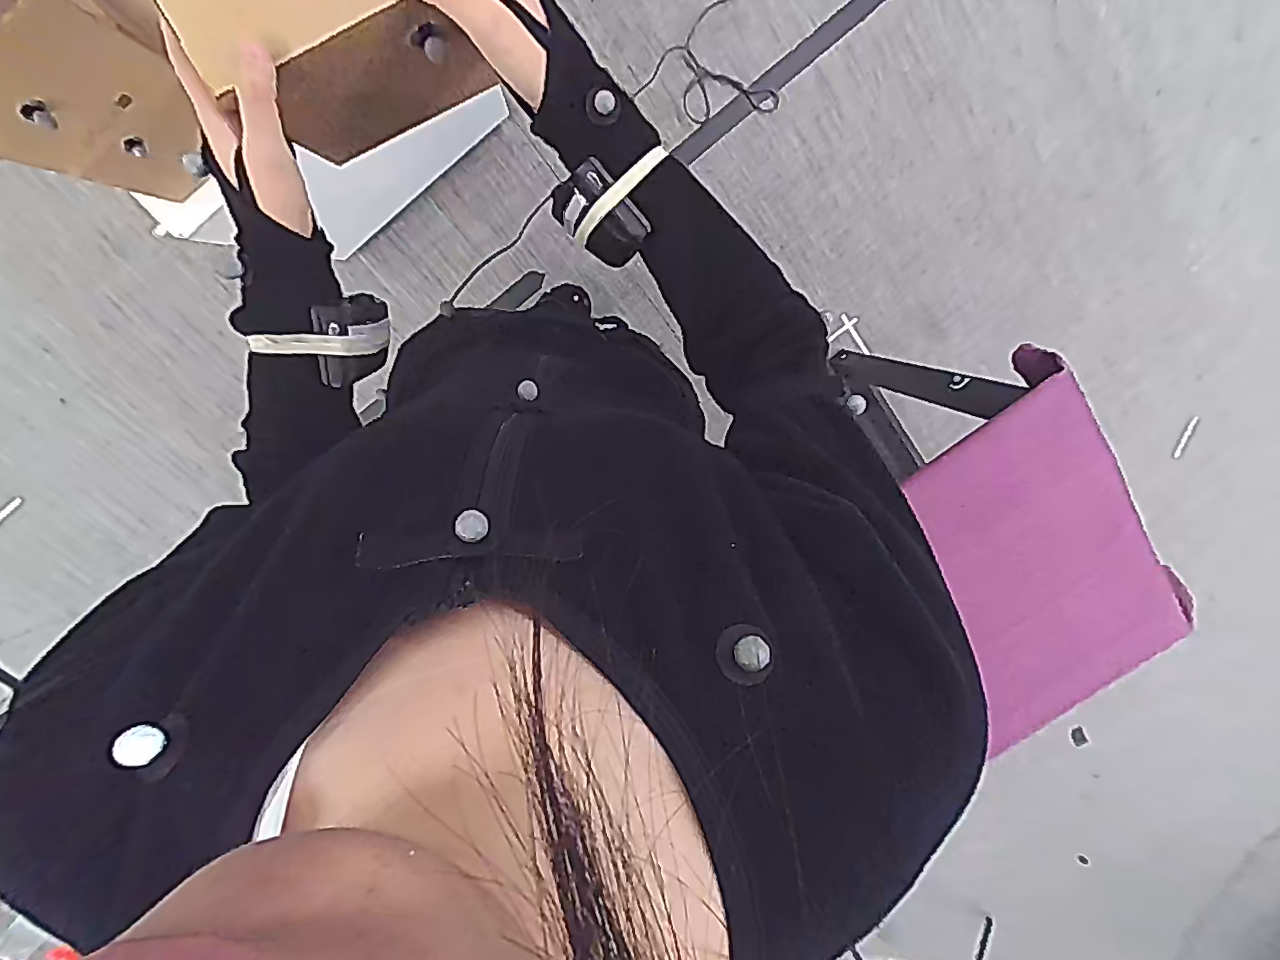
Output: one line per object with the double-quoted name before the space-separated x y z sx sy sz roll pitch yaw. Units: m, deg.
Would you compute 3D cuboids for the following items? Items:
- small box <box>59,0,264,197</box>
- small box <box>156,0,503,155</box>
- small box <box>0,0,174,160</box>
"small box" -0.585 -0.454 0.604 0.168 0.176 0.179 -37 108 6
"small box" -0.205 -0.350 0.355 0.179 0.176 0.168 -24 108 4
"small box" -0.563 -0.401 0.451 0.168 0.176 0.179 -39 108 7
